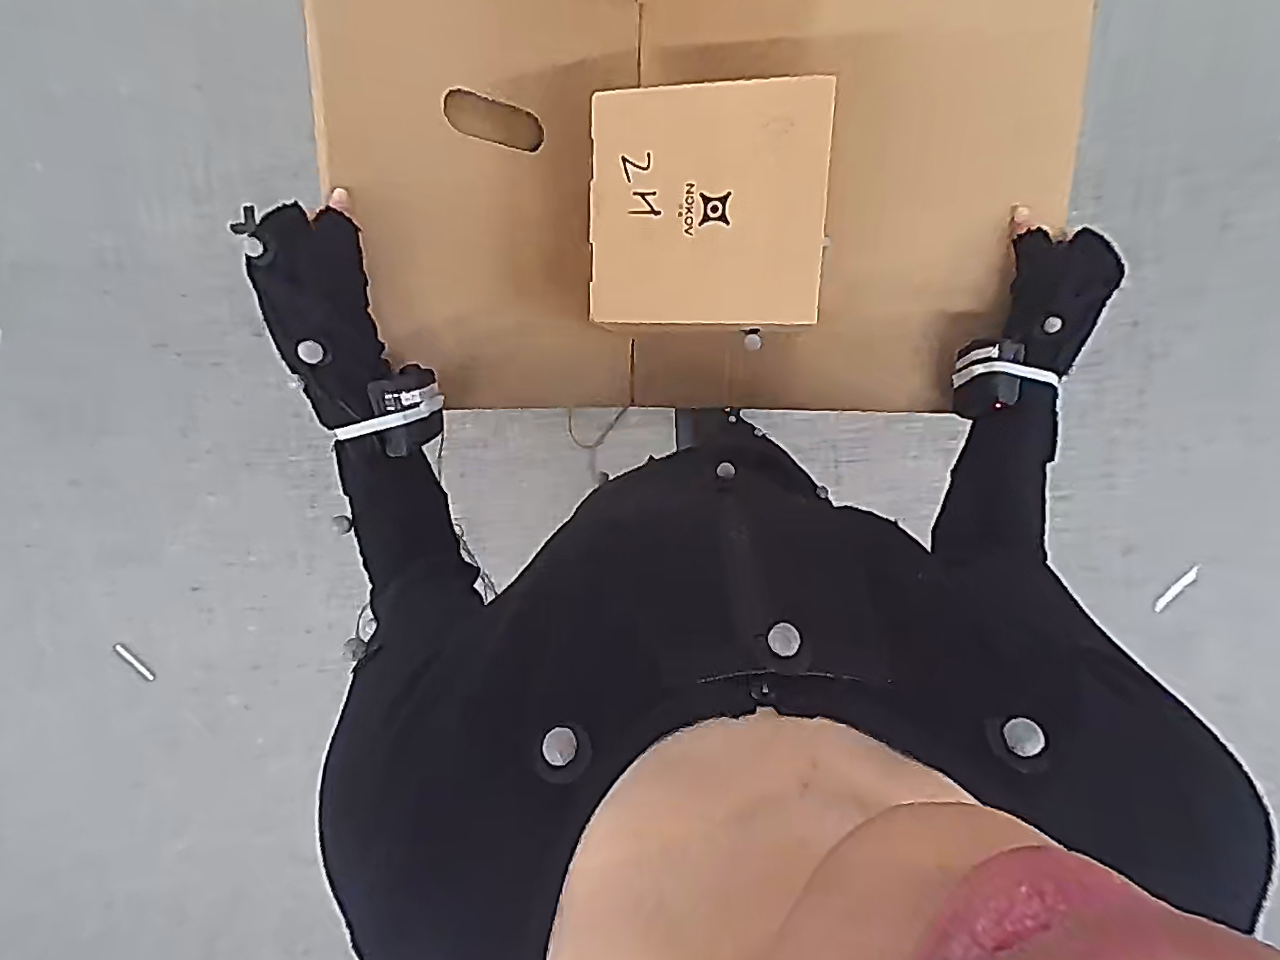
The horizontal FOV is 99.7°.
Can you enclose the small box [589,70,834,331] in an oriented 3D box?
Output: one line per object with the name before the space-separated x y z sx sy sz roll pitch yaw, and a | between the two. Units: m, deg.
small box | 0.062 -0.227 0.483 0.179 0.176 0.168 4 100 11
